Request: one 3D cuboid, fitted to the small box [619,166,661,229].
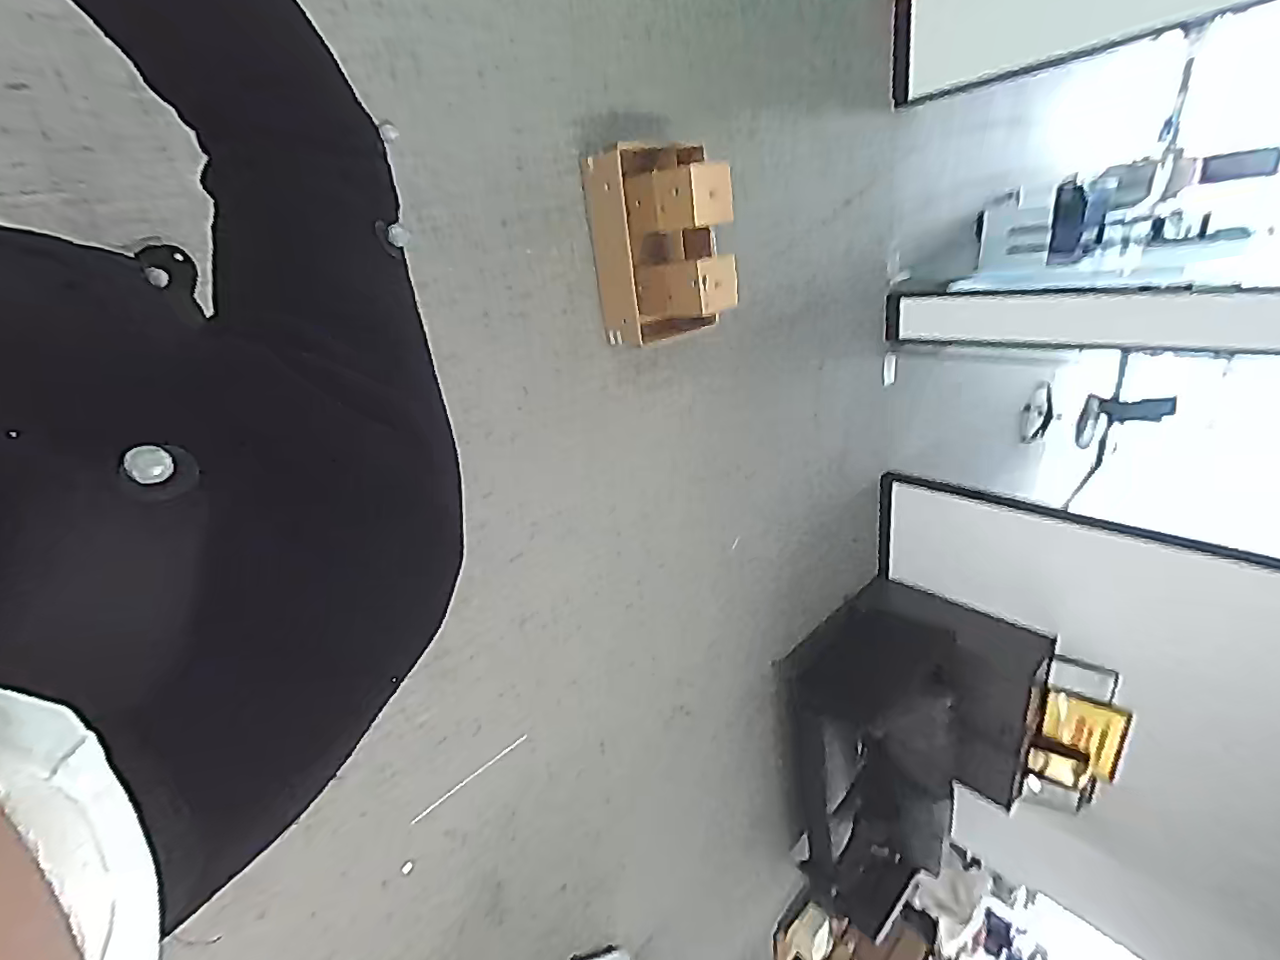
[{"bbox_3d":[0.045,-0.945,1.811,0.179,0.176,0.168,-26,121,-34],"label":"small box"}]

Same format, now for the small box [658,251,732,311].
[{"bbox_3d":[0.184,-0.663,1.804,0.179,0.176,0.168,-27,118,-34],"label":"small box"}]

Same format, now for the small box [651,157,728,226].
[{"bbox_3d":[0.150,-0.902,1.696,0.179,0.176,0.168,-27,121,-33],"label":"small box"}]
